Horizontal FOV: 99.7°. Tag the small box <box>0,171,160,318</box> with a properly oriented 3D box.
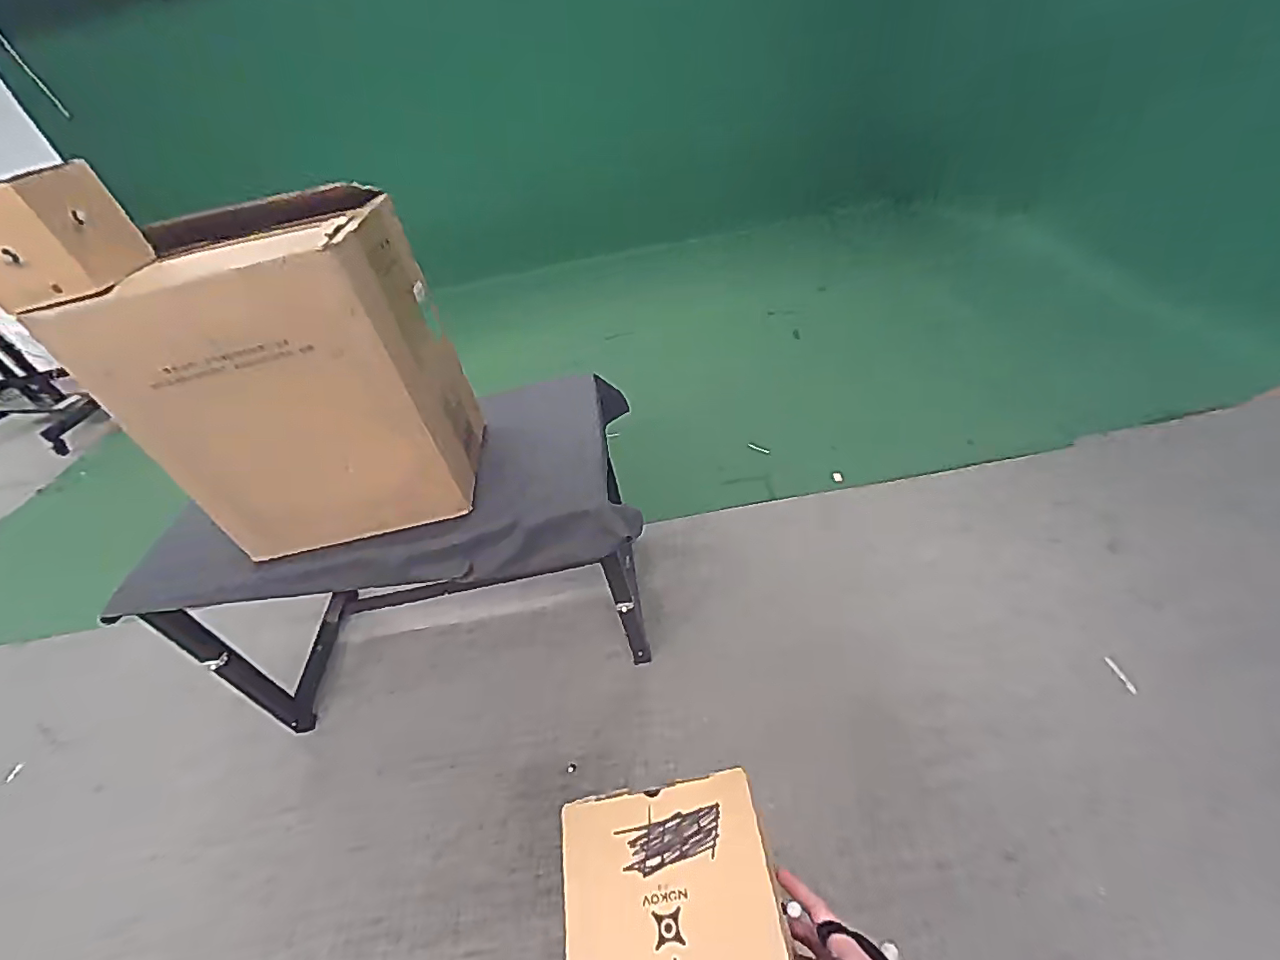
[{"bbox_3d":[-0.975,-0.388,0.905,0.168,0.176,0.179,-14,41,2],"label":"small box"}]
